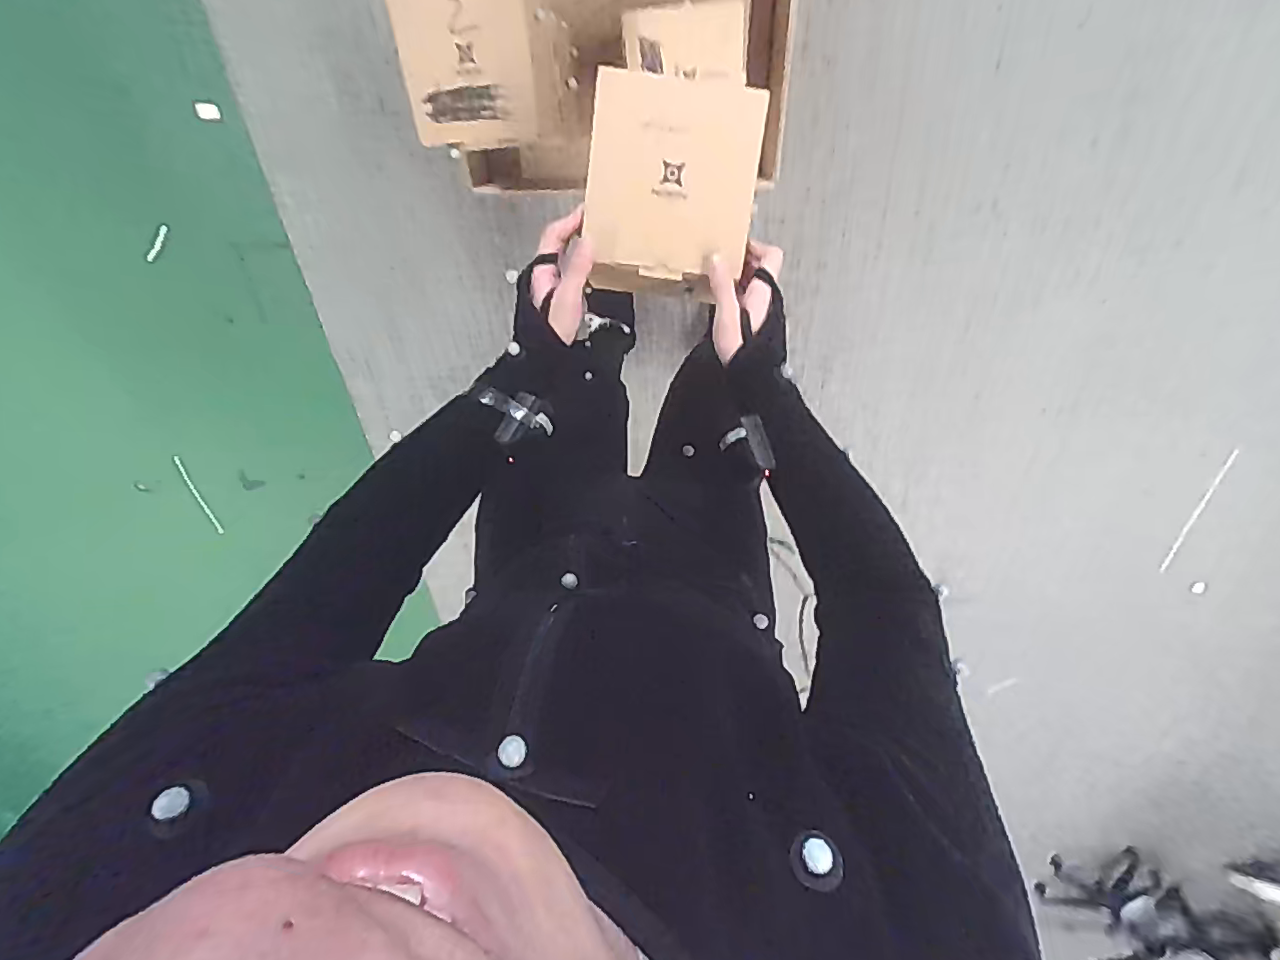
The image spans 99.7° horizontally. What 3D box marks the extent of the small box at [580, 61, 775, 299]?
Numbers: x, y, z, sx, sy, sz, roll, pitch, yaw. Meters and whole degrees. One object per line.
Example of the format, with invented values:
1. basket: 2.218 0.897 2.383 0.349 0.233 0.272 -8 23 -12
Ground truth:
1. small box: 0.033 -0.304 0.591 0.168 0.176 0.179 7 101 -3

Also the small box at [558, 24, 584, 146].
1. small box: -0.201 -0.735 1.020 0.168 0.176 0.179 0 123 2

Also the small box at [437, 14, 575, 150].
1. small box: -0.204 -0.642 0.885 0.179 0.176 0.168 -1 123 2

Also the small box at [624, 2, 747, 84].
1. small box: 0.072 -0.643 0.870 0.179 0.176 0.168 -2 125 4
